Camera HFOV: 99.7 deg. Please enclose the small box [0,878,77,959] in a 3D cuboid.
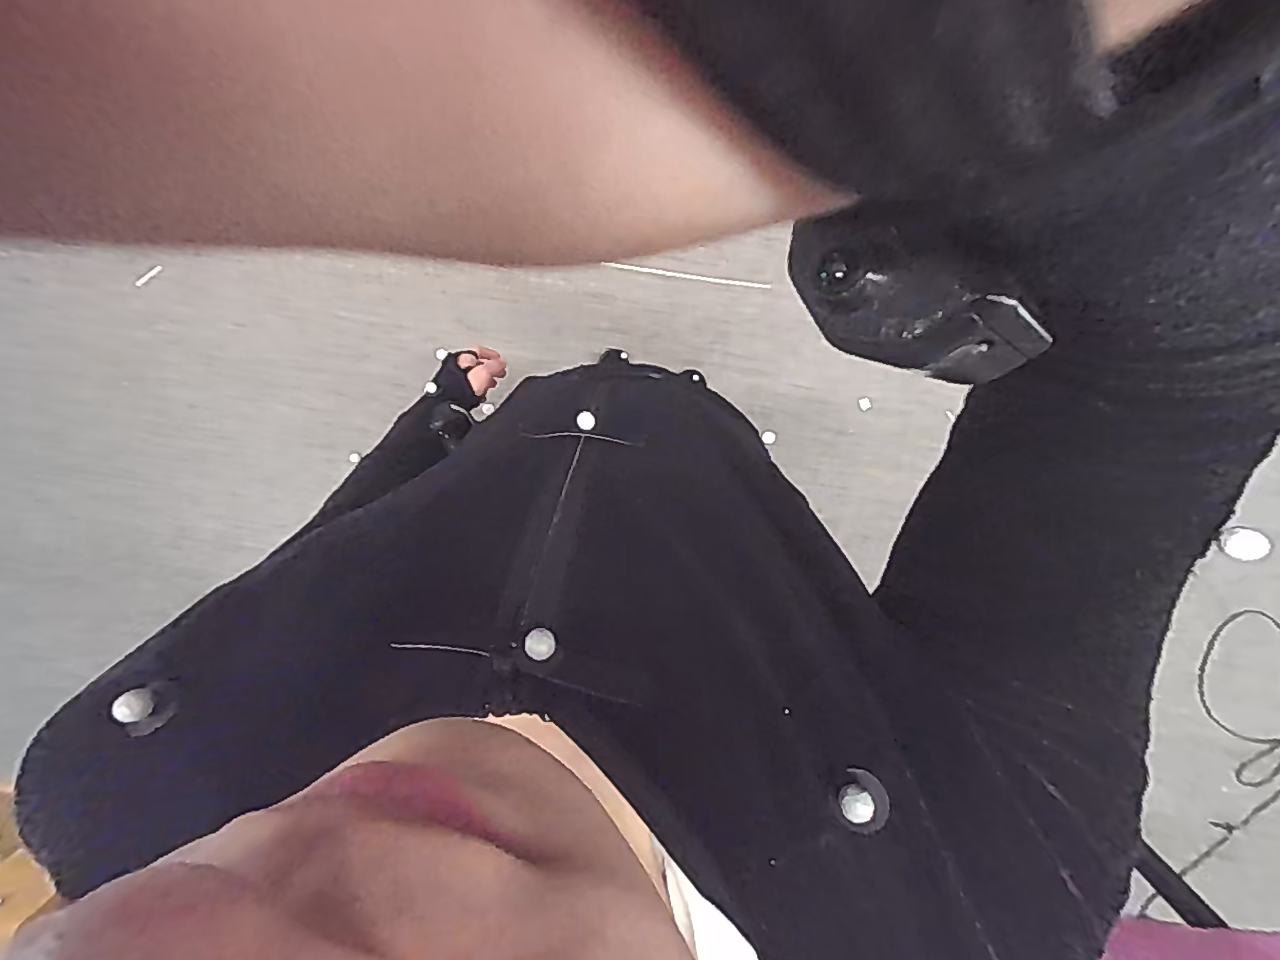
[{"bbox_3d":[-1.424,1.029,1.200,0.179,0.176,0.168,9,100,-3],"label":"small box"}]
